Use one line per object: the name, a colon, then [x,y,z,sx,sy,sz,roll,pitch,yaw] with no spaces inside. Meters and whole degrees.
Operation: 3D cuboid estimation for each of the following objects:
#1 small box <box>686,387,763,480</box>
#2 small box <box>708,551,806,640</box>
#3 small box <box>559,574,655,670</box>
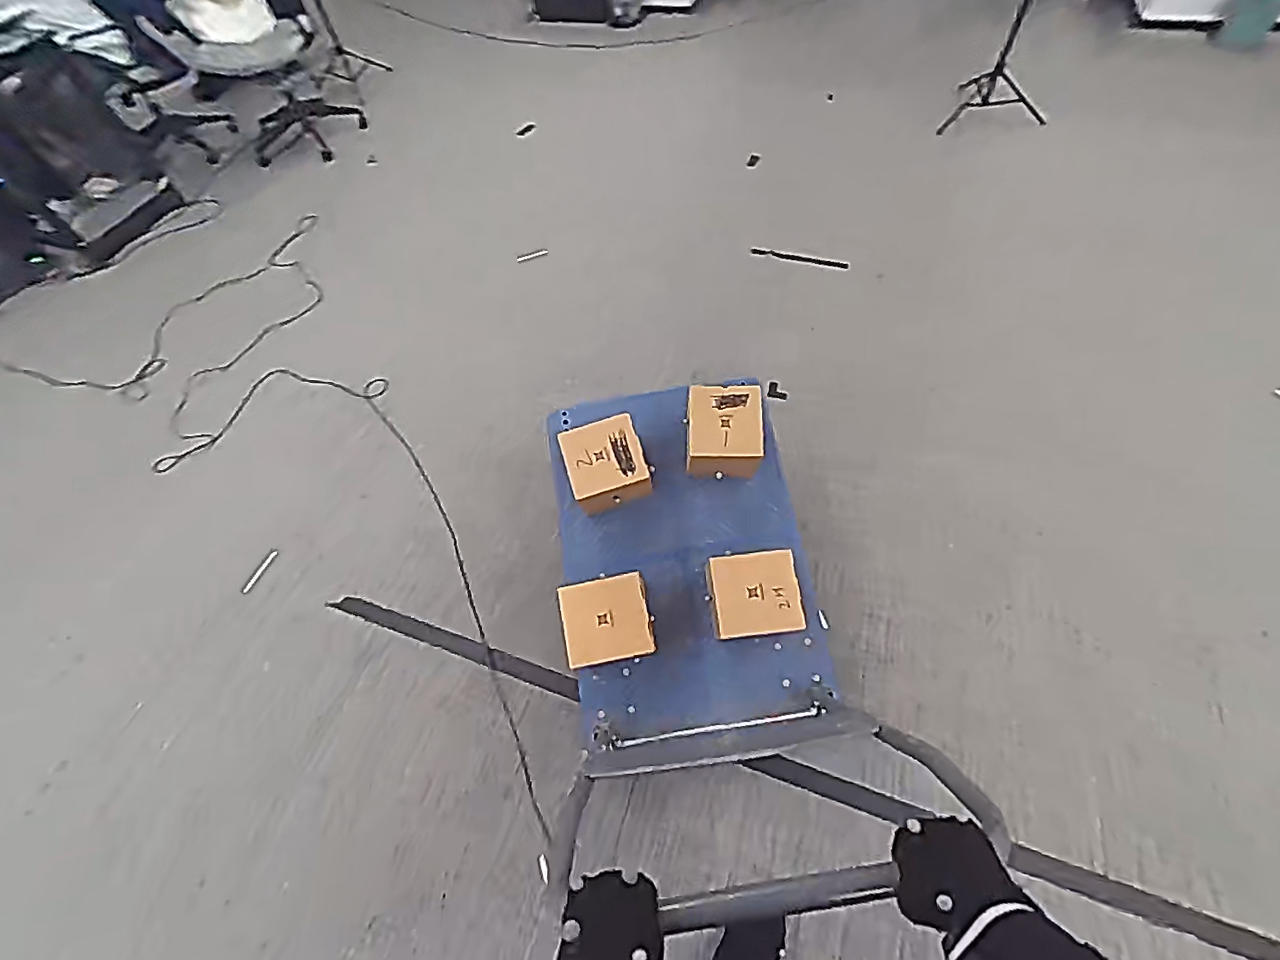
small box: [0.196,-0.108,1.296,0.168,0.176,0.179,0,74,3]
small box: [0.244,0.258,1.181,0.179,0.176,0.168,-7,73,1]
small box: [-0.066,0.314,1.180,0.179,0.176,0.168,-12,73,-2]
